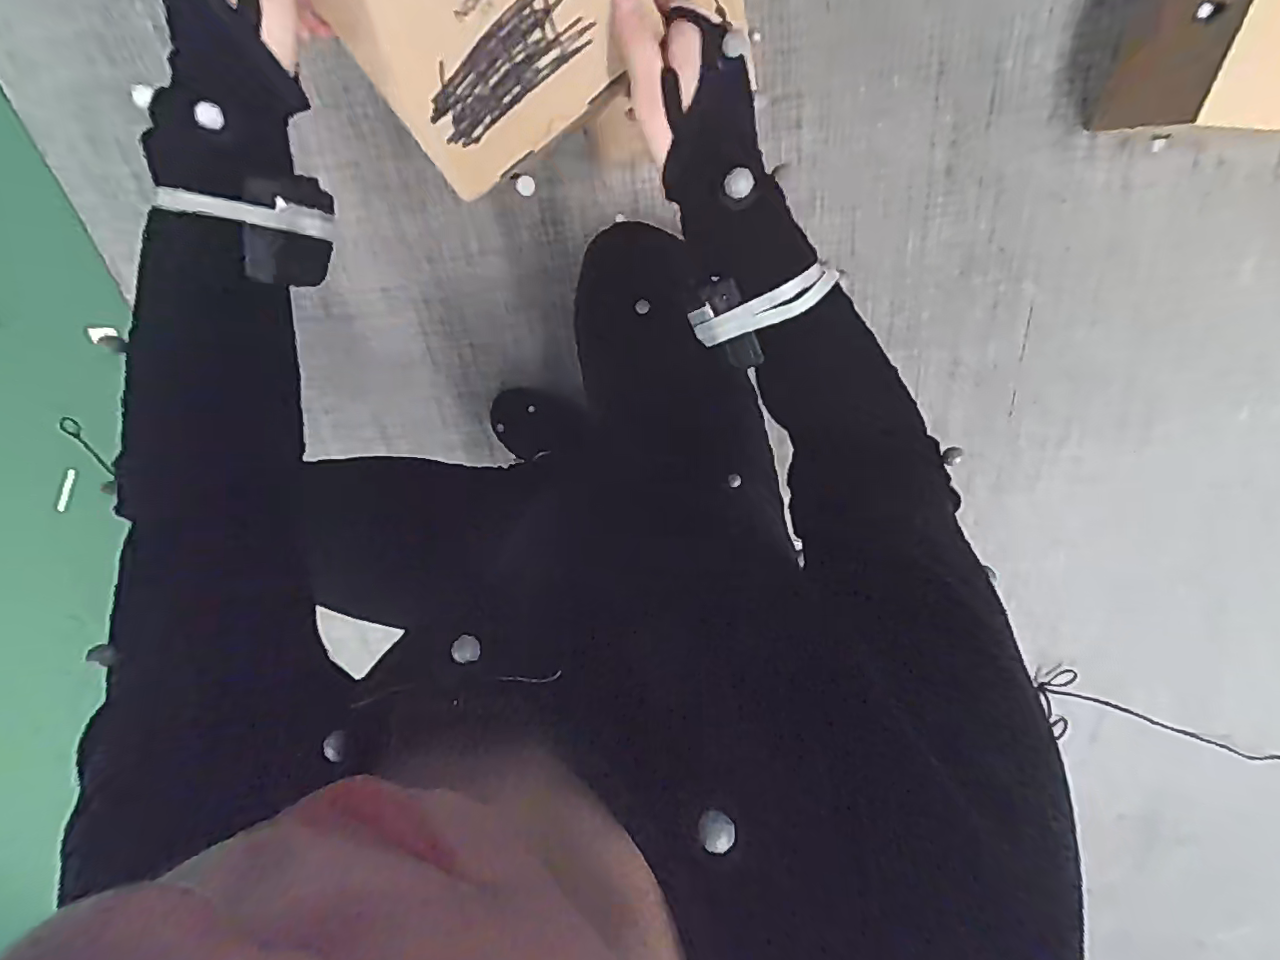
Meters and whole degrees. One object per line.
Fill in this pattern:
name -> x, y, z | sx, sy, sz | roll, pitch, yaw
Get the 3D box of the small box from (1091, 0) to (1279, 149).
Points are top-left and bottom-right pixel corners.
small box -> 0.620, -0.448, 0.546 | 0.168, 0.176, 0.179 | 6, 120, 1

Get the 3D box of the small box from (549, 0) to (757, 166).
small box -> 0.021, -0.454, 0.585 | 0.179, 0.176, 0.168 | -12, 118, 11
